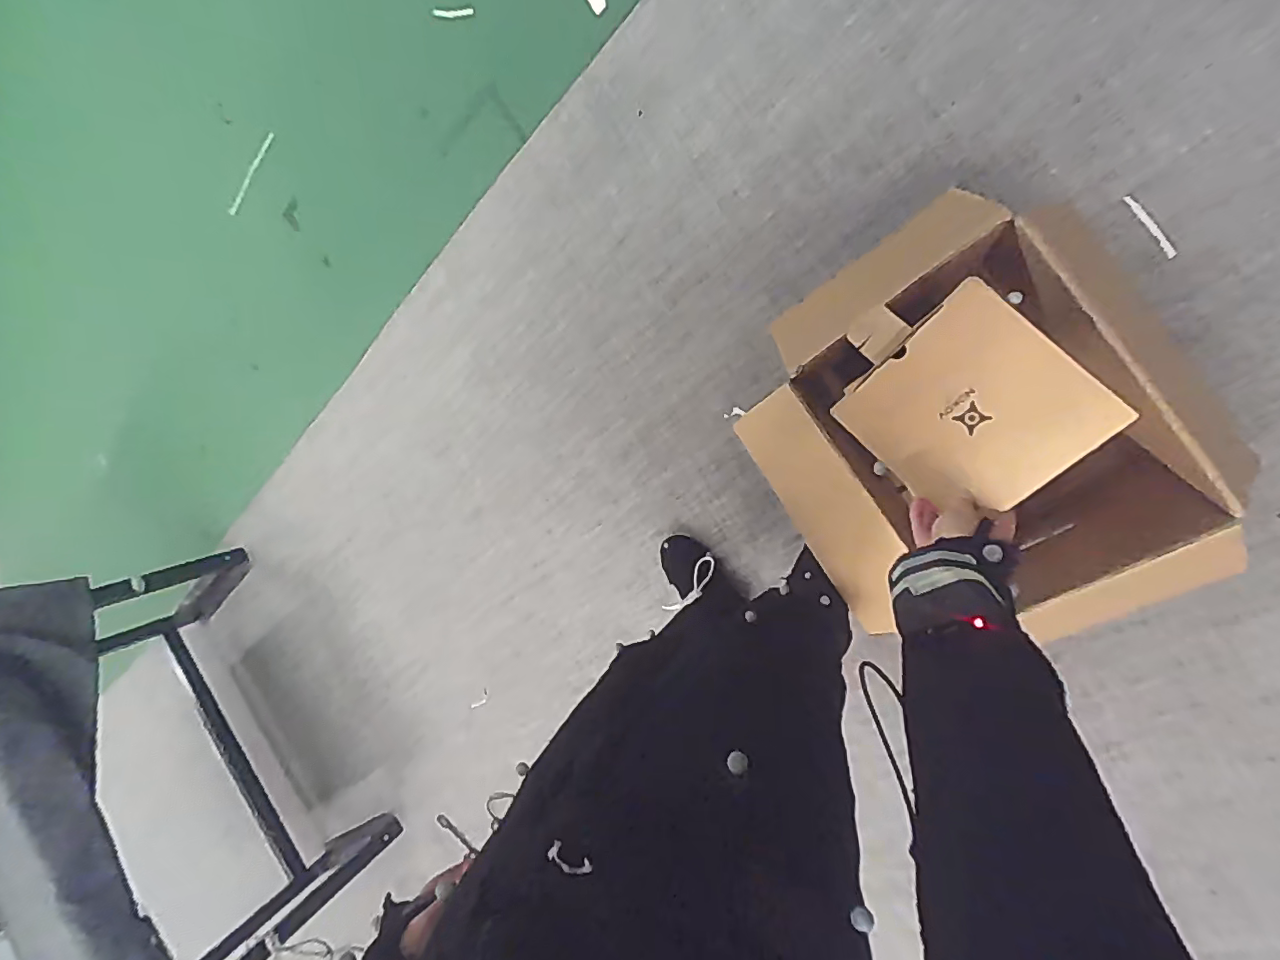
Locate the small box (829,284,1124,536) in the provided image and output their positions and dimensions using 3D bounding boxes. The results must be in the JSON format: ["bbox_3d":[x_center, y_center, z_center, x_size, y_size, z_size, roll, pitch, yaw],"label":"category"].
[{"bbox_3d":[0.329,-0.076,0.562,0.179,0.176,0.168,48,117,9],"label":"small box"}]
